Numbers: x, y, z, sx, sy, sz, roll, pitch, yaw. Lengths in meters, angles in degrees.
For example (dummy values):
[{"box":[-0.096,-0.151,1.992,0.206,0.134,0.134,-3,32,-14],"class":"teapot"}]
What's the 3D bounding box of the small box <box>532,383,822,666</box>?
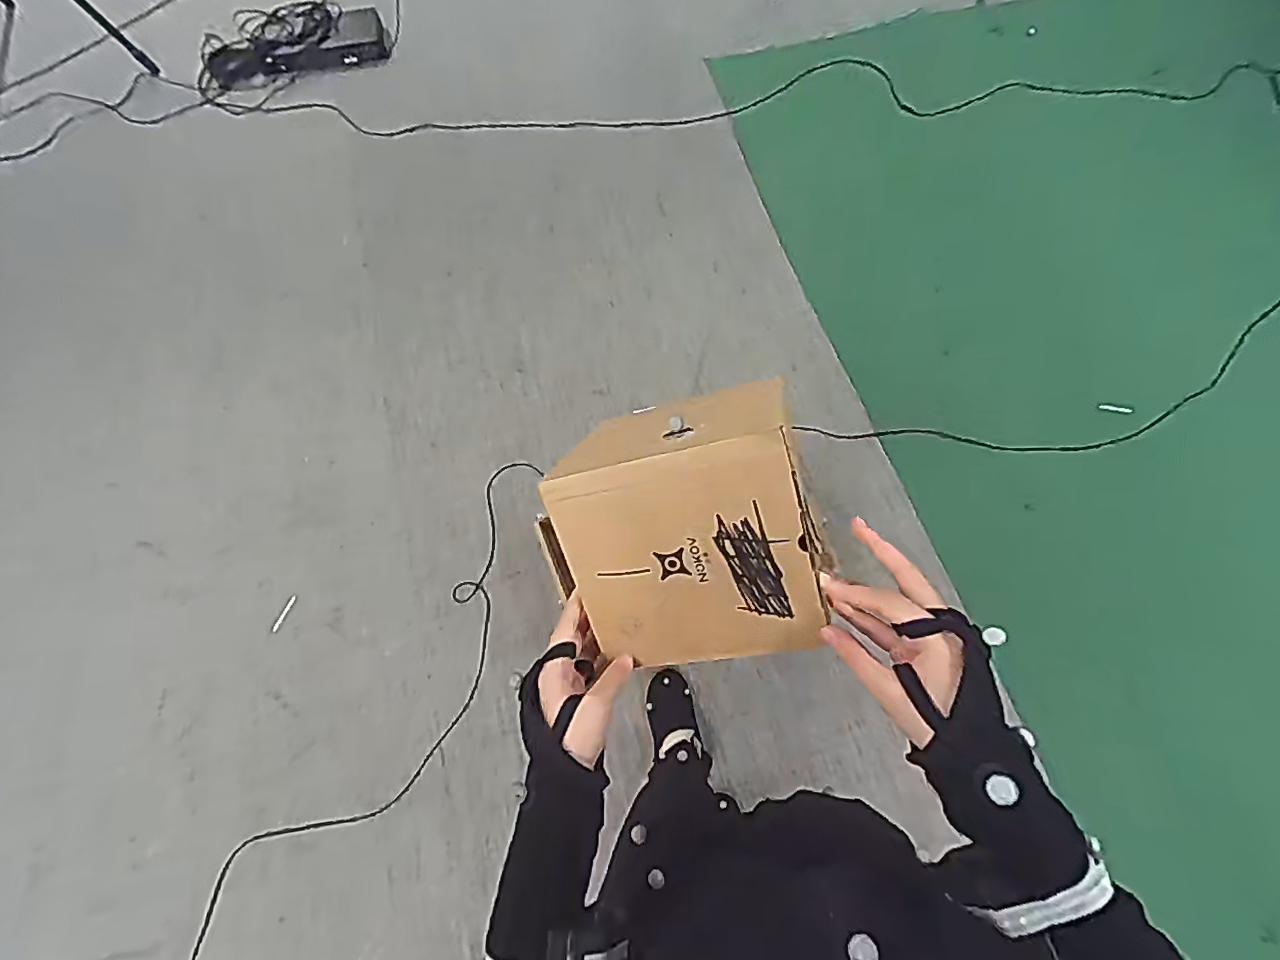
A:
[{"box":[0.042,0.029,0.456,0.179,0.176,0.168,-12,108,19],"class":"small box"}]
